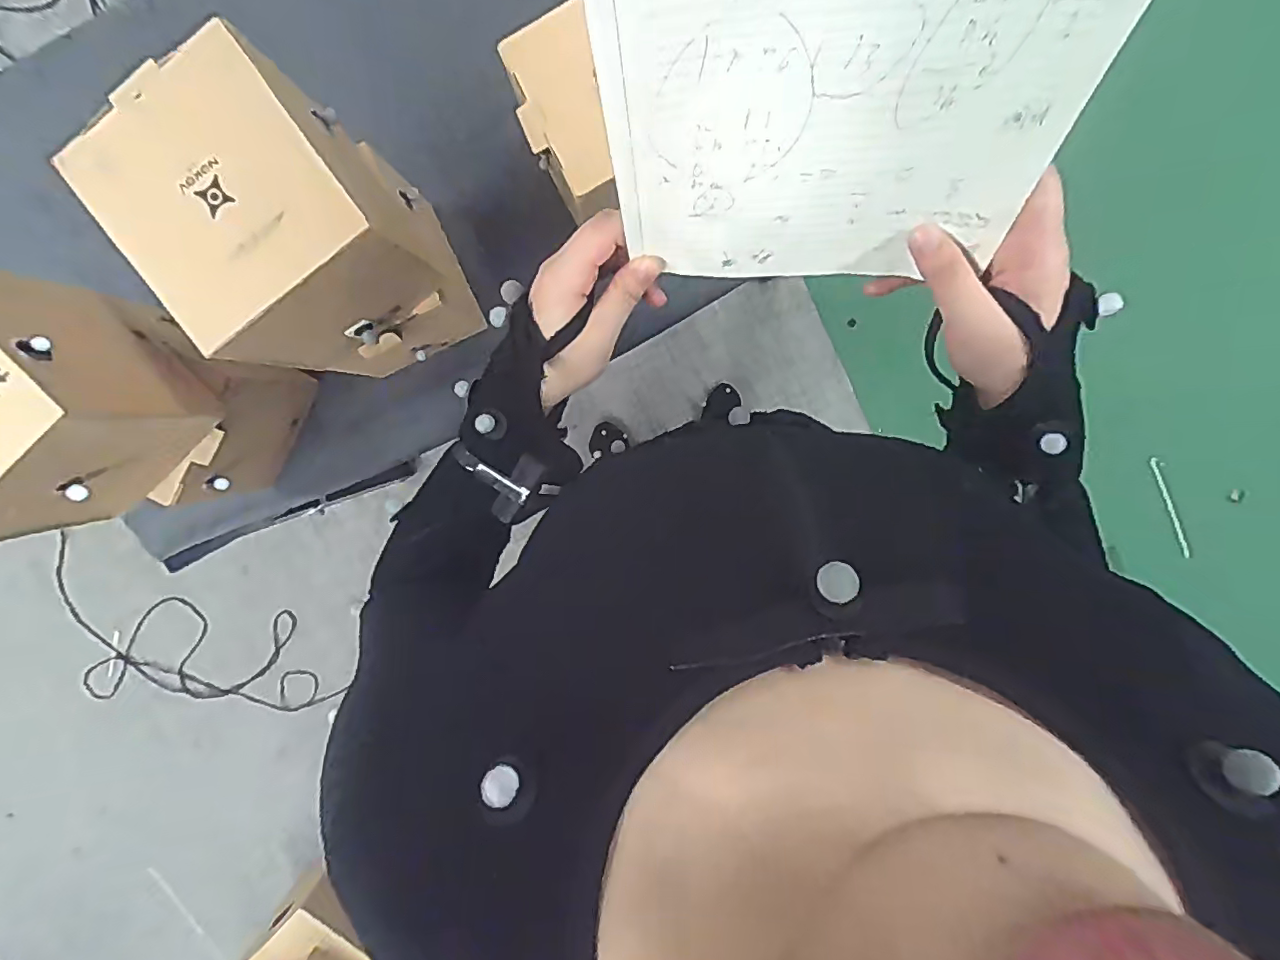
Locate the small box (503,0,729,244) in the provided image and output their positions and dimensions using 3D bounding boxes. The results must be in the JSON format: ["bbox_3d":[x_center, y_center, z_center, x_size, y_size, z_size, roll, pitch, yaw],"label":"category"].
[{"bbox_3d":[-0.023,-0.402,0.612,0.179,0.176,0.168,-28,95,5],"label":"small box"}]

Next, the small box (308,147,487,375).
[{"bbox_3d":[-0.309,-0.237,0.638,0.168,0.176,0.179,-24,96,5],"label":"small box"}]

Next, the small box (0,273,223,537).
[{"bbox_3d":[-0.551,-0.063,0.499,0.179,0.176,0.168,-42,95,7],"label":"small box"}]

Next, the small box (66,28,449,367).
[{"bbox_3d":[-0.307,-0.217,0.477,0.168,0.176,0.179,-35,96,6],"label":"small box"}]
